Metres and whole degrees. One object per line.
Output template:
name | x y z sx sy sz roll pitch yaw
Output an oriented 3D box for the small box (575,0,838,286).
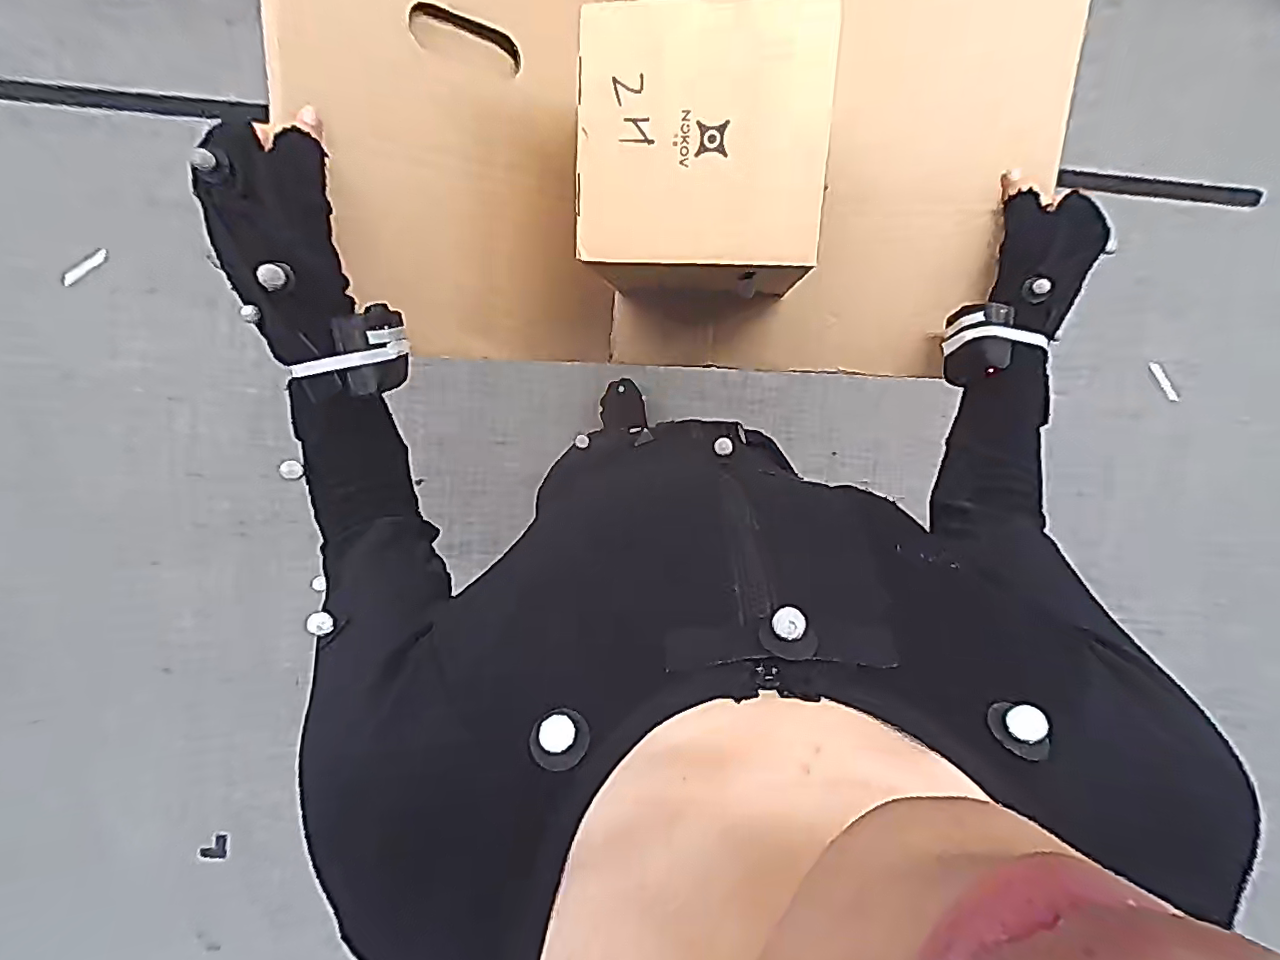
small box | 0.051 -0.264 0.459 0.179 0.176 0.168 5 103 7
